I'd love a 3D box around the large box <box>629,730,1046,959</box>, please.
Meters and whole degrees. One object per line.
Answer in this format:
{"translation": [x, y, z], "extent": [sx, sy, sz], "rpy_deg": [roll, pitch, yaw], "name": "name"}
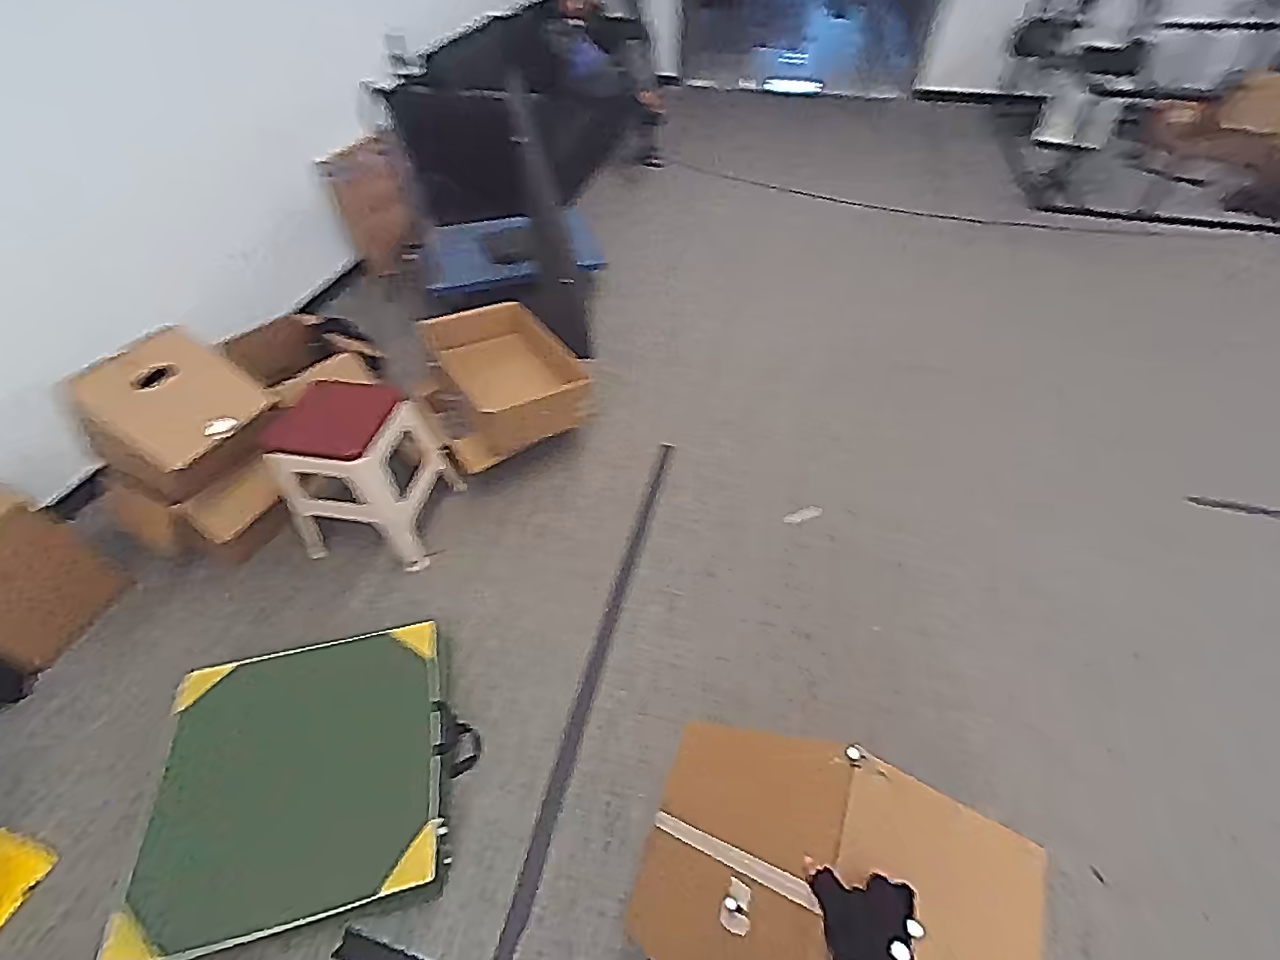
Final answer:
{"translation": [0.244, 0.578, 0.743], "extent": [0.320, 0.408, 0.320], "rpy_deg": [31, 62, -13], "name": "large box"}
